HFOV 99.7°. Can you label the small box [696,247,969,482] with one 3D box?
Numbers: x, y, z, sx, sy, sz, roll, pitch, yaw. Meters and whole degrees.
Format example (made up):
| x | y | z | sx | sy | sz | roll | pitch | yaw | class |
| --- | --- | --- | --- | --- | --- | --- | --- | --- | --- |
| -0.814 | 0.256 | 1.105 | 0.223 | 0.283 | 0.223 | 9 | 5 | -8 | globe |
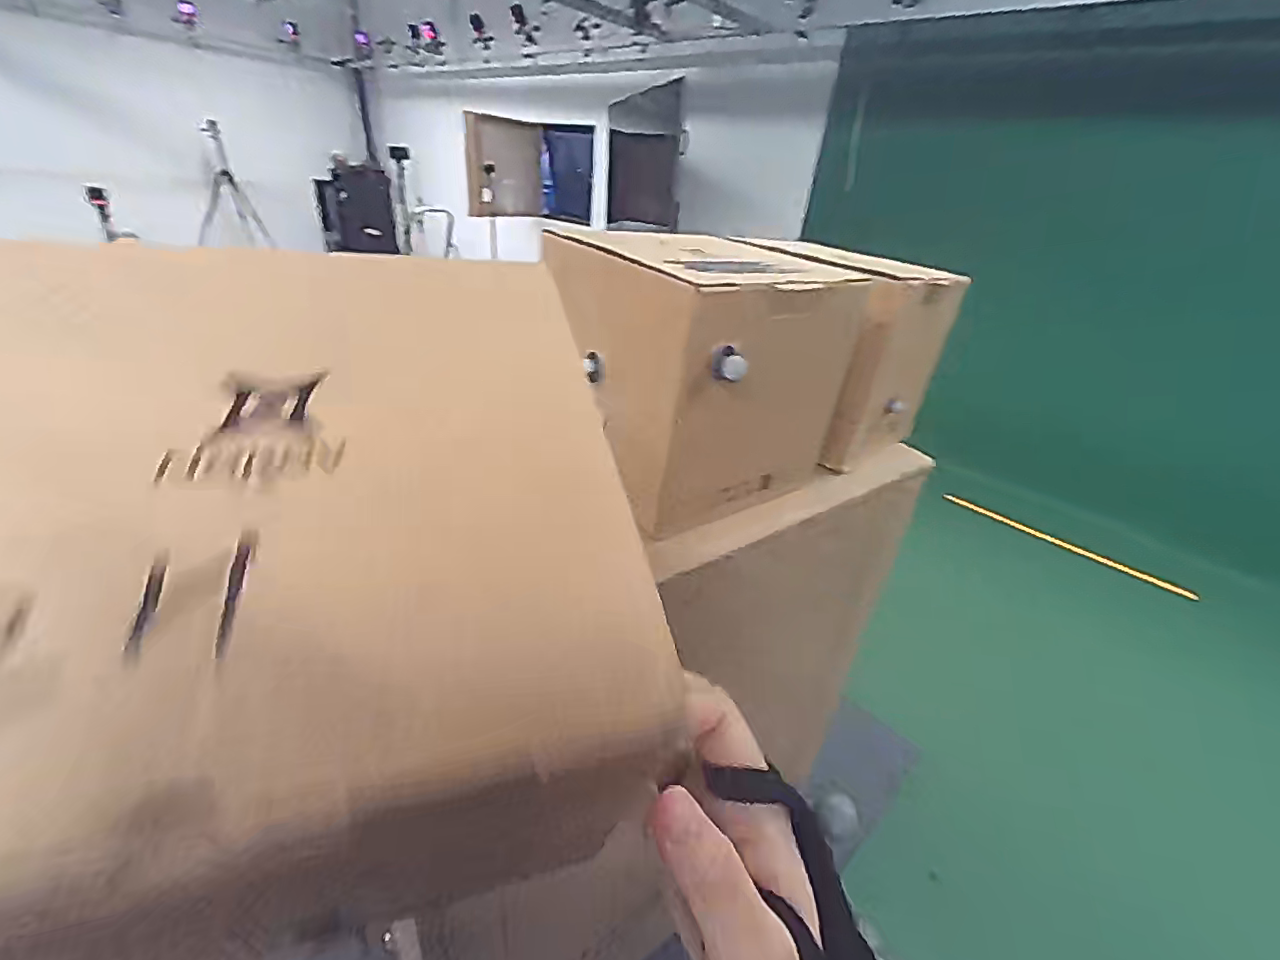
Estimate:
| x | y | z | sx | sy | sz | roll | pitch | yaw | class |
| --- | --- | --- | --- | --- | --- | --- | --- | --- | --- |
| 0.179 | -0.119 | 0.533 | 0.179 | 0.176 | 0.168 | 31 | 34 | 32 | small box |
